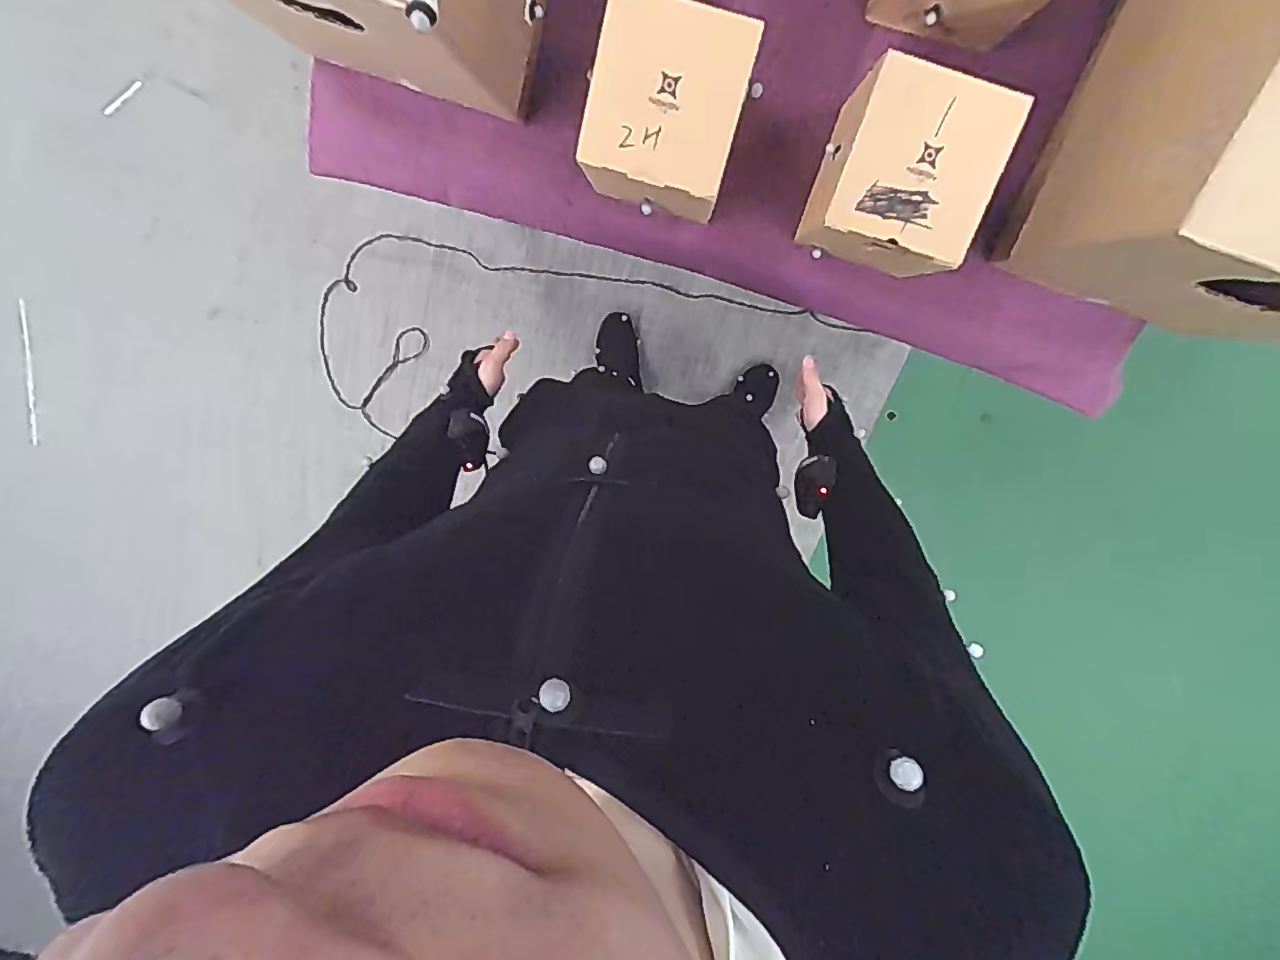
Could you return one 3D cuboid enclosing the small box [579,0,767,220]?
[{"bbox_3d":[0.035,-0.439,0.653,0.168,0.176,0.179,16,107,-1],"label":"small box"}]

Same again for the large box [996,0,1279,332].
[{"bbox_3d":[0.683,-0.394,0.559,0.320,0.320,0.408,18,109,-1],"label":"large box"}]
